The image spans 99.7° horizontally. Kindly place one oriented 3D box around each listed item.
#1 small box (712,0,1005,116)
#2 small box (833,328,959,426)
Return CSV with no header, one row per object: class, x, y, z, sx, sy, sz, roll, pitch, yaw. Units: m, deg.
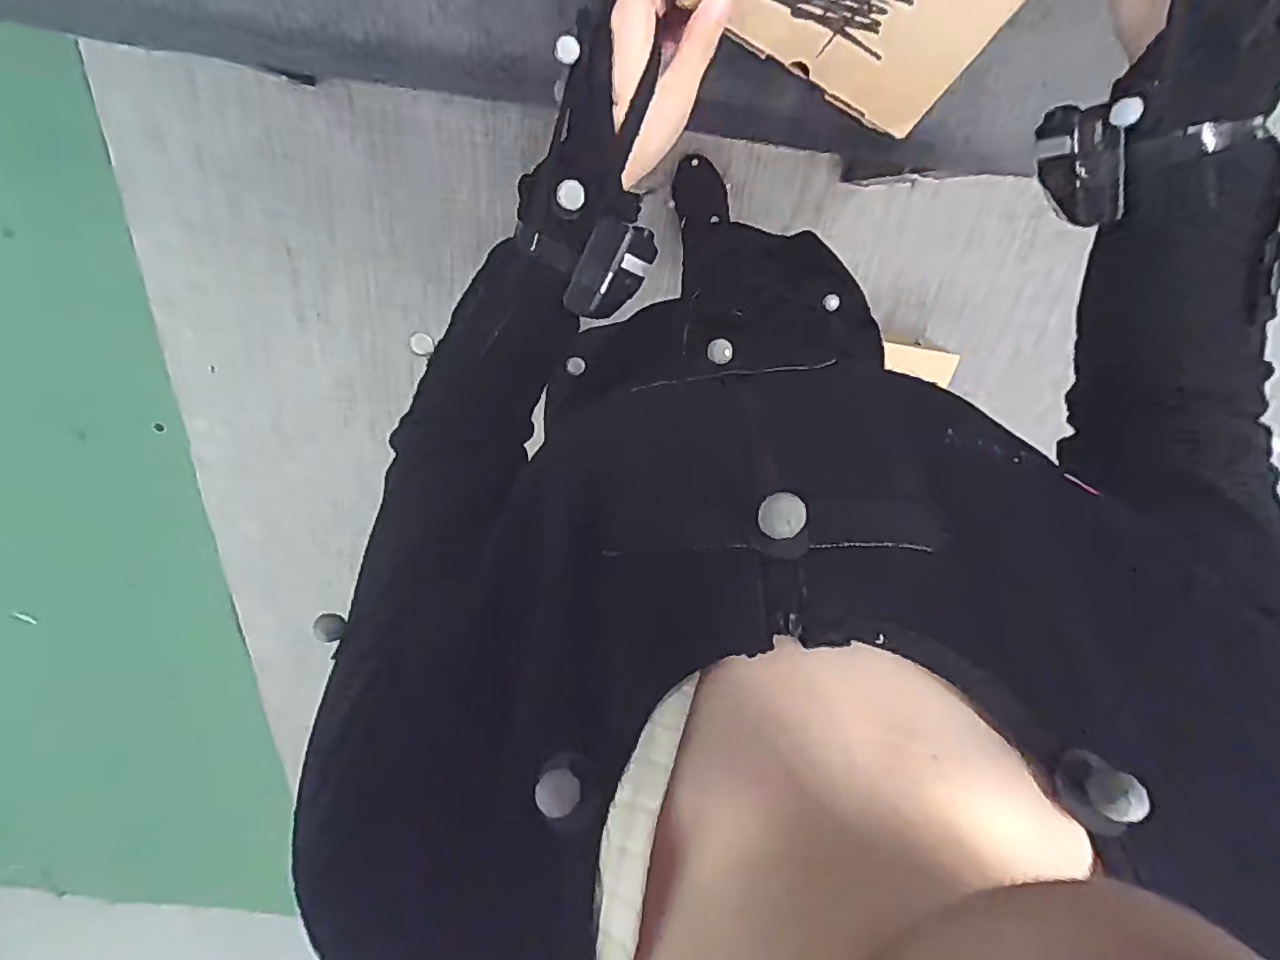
small box,0.131,-0.352,0.280,0.168,0.176,0.179,13,150,-21
small box,0.564,-0.238,1.218,0.179,0.176,0.168,9,116,-3
